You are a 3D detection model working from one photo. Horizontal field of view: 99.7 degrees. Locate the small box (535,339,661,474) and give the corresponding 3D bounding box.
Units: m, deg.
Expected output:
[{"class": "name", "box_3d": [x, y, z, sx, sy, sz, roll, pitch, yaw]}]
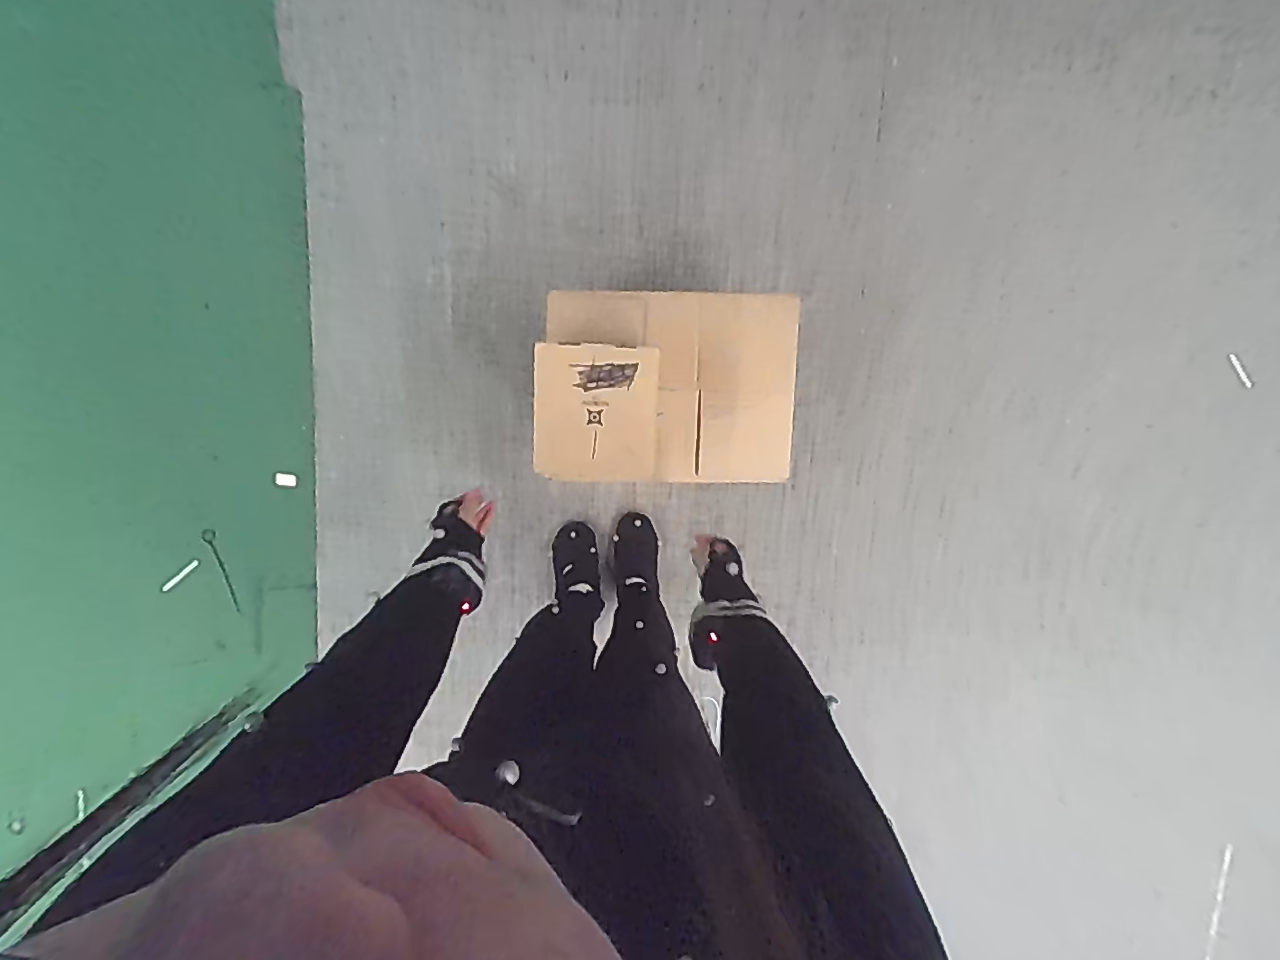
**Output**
[{"class": "small box", "box_3d": [-0.062, -0.111, 0.812, 0.168, 0.176, 0.179, 3, 101, -2]}]
